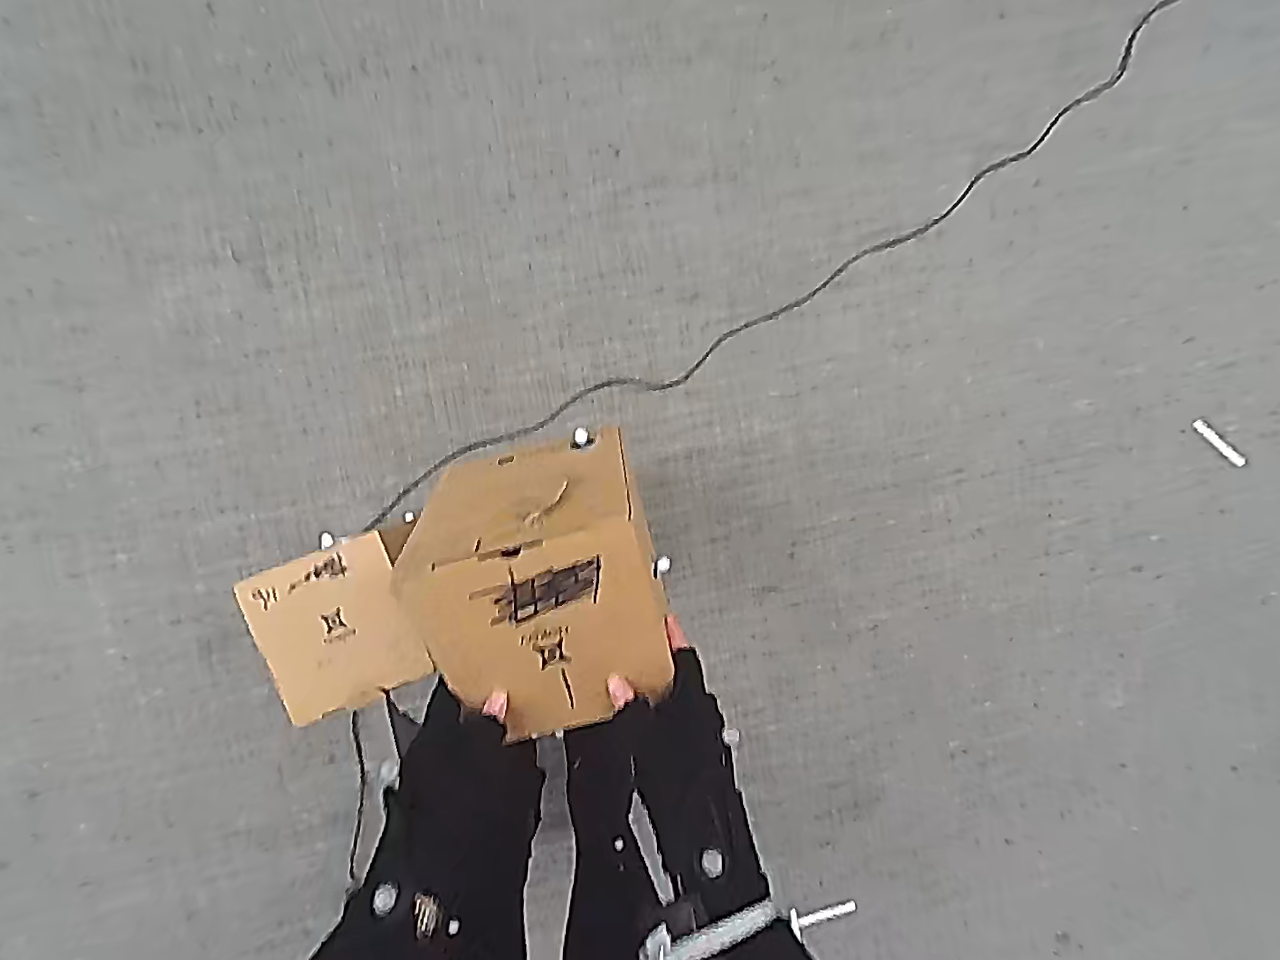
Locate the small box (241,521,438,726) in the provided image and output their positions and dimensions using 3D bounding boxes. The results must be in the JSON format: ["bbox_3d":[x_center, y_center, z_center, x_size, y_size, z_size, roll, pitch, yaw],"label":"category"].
[{"bbox_3d":[-0.340,0.165,0.681,0.168,0.176,0.179,-20,94,-5],"label":"small box"}]

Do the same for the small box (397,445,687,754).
[{"bbox_3d":[-0.068,0.085,0.451,0.168,0.176,0.179,-14,118,2],"label":"small box"}]
